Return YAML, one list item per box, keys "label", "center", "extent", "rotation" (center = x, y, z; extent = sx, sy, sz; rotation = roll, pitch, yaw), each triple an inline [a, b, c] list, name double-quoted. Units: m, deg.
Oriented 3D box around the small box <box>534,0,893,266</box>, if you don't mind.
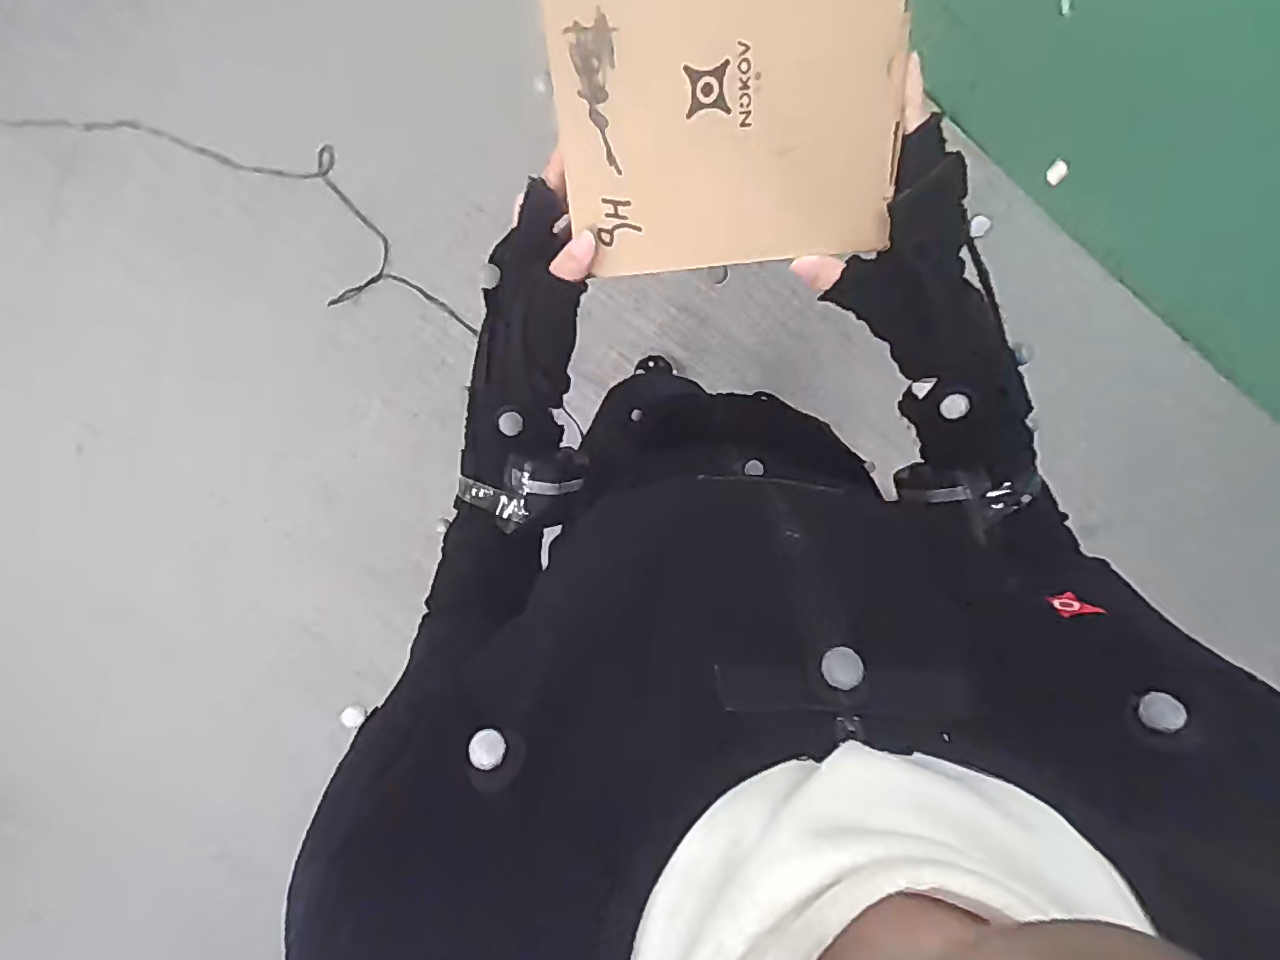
- label: "small box"
  center: [0.041, -0.236, 0.347]
  extent: [0.179, 0.176, 0.168]
  rotation: [-5, 112, 5]
